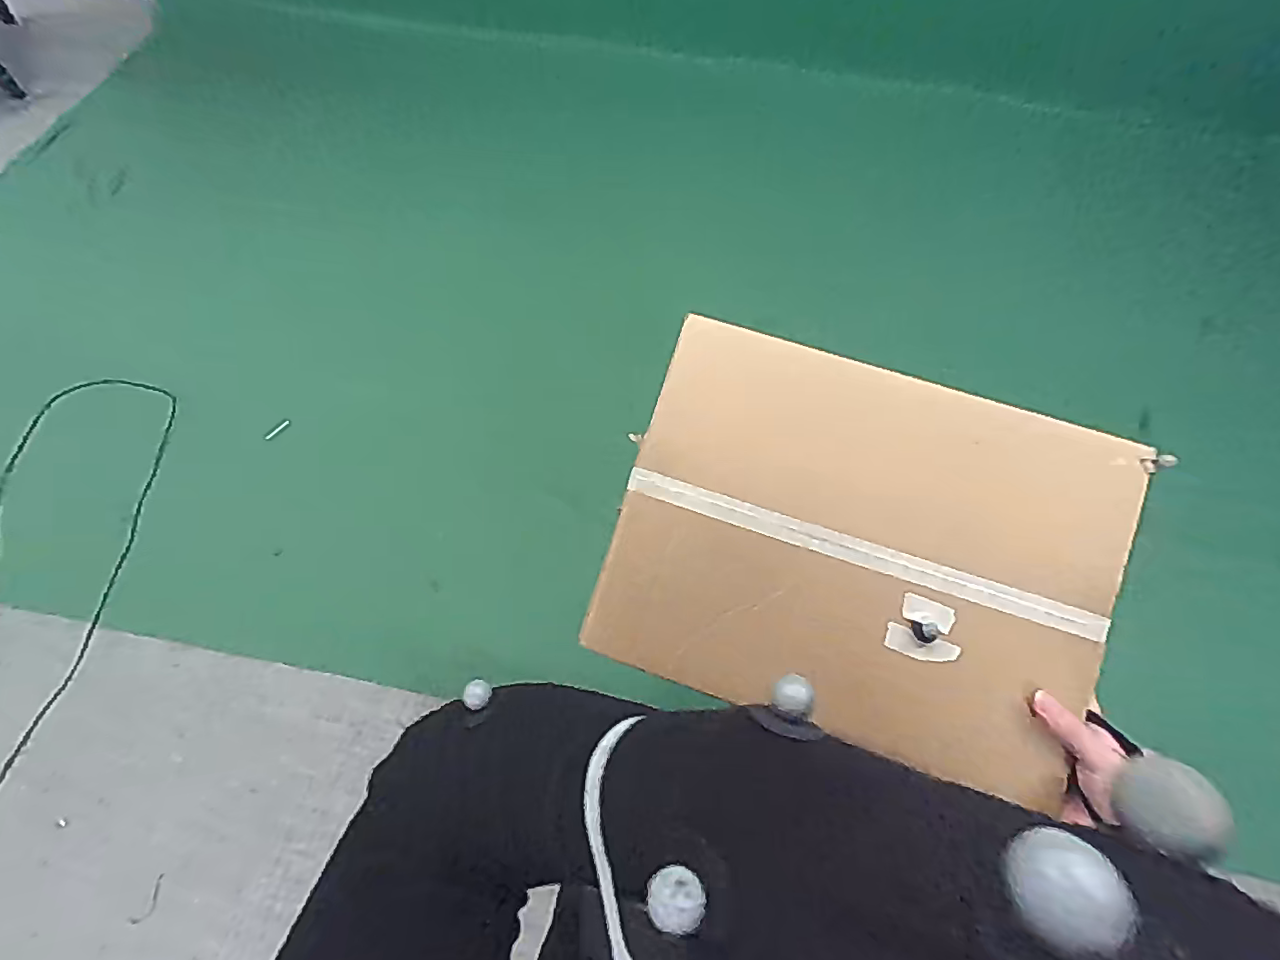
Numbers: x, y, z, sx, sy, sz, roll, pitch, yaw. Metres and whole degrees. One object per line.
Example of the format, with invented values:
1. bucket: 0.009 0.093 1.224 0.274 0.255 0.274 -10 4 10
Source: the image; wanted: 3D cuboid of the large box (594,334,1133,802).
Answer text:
1. large box: 0.197 0.077 0.616 0.408 0.320 0.320 17 87 5
